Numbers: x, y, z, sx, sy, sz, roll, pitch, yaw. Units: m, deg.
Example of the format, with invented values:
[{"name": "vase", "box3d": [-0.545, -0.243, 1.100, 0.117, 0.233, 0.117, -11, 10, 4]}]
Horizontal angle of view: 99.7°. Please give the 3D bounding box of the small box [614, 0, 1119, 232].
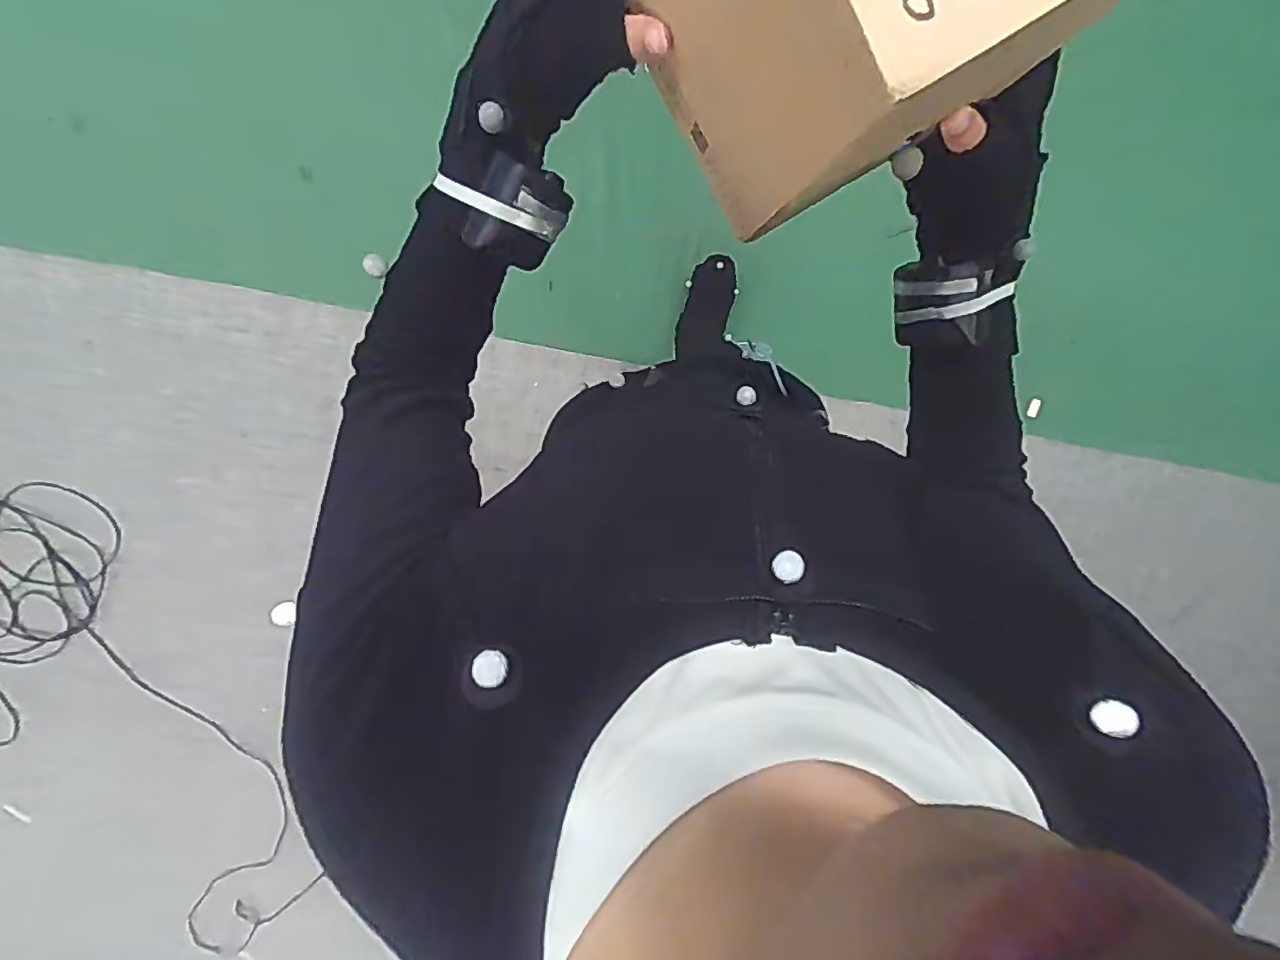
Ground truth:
[{"name": "small box", "box3d": [0.101, -0.242, 0.232, 0.179, 0.176, 0.168, -31, 101, -1]}]
